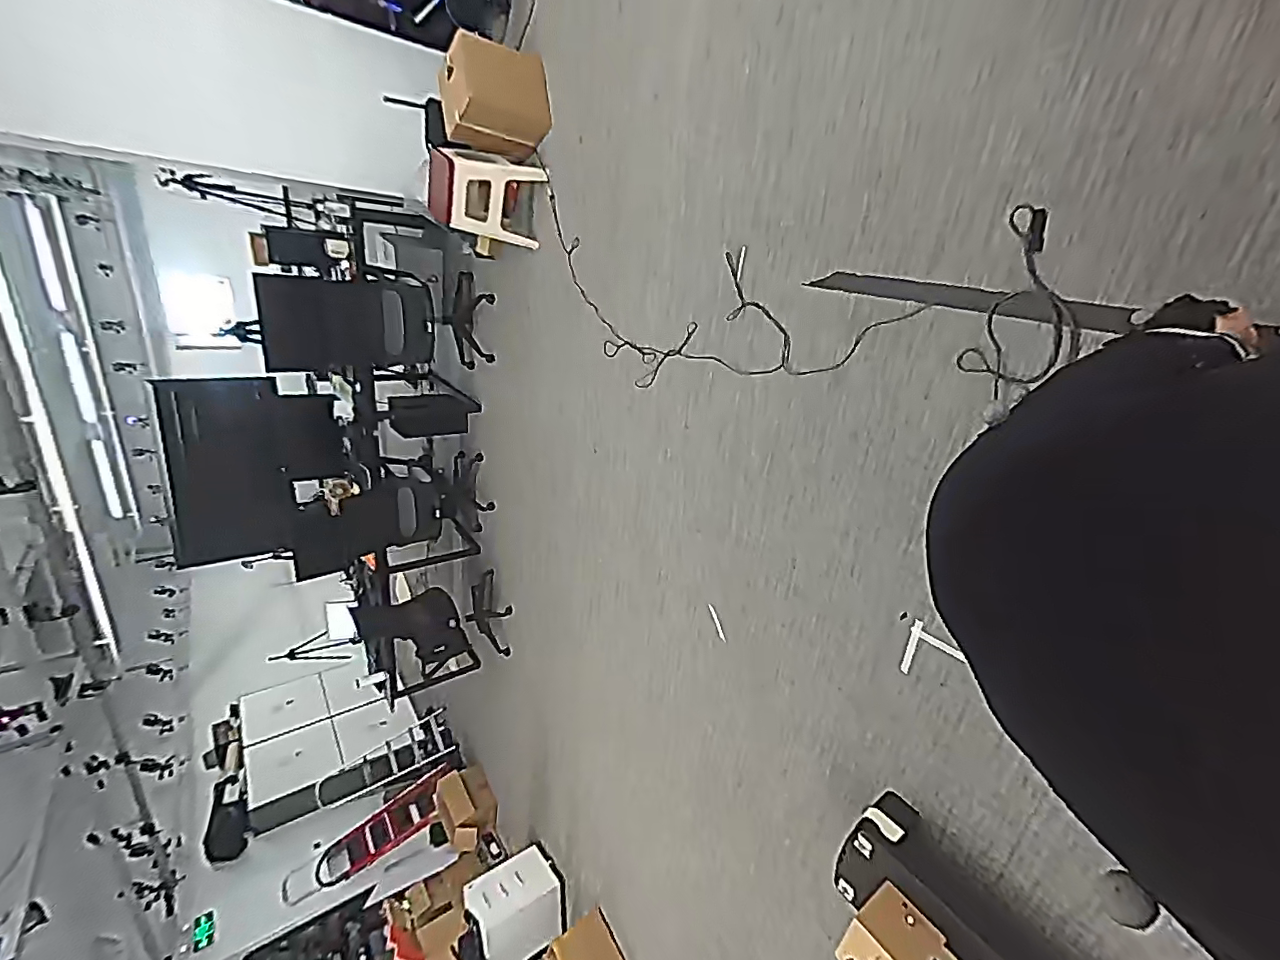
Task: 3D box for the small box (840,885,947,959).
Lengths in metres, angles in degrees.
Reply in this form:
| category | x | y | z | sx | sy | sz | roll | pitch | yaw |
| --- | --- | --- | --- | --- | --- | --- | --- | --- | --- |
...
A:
| category | x | y | z | sx | sy | sz | roll | pitch | yaw |
| --- | --- | --- | --- | --- | --- | --- | --- | --- | --- |
| small box | 0.649 | 1.200 | 1.382 | 0.168 | 0.176 | 0.179 | 34 | 124 | 44 |

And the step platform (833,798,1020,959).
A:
| category | x | y | z | sx | sy | sz | roll | pitch | yaw |
| --- | --- | --- | --- | --- | --- | --- | --- | --- | --- |
| step platform | 0.850 | 1.216 | 1.408 | 0.684 | 0.204 | 0.286 | 31 | 123 | 45 |
